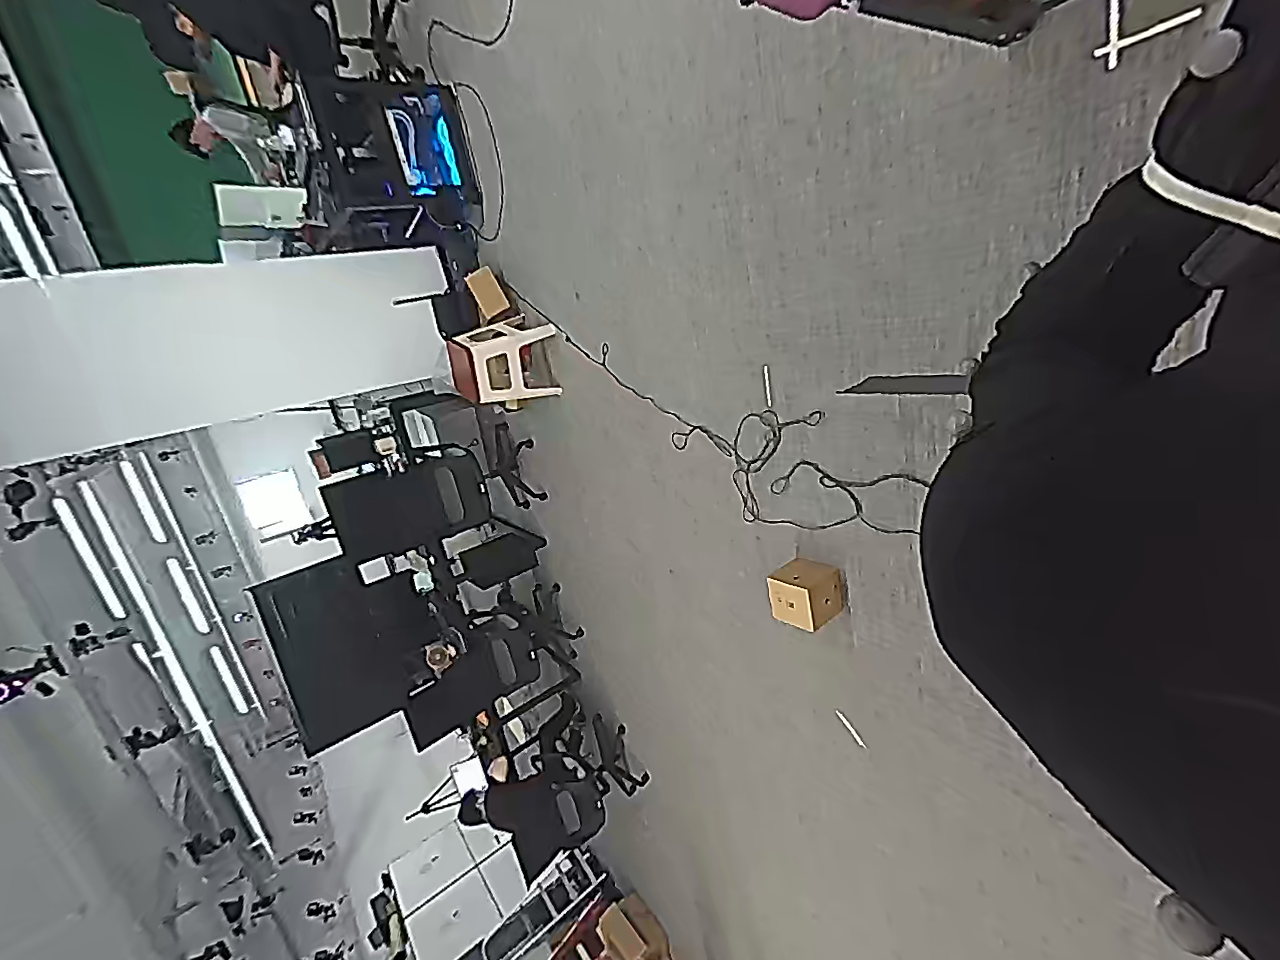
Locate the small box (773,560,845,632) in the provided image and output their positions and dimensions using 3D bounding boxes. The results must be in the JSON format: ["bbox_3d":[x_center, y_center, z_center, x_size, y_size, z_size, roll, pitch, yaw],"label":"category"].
[{"bbox_3d":[0.591,0.392,1.867,0.179,0.176,0.168,10,117,54],"label":"small box"}]
